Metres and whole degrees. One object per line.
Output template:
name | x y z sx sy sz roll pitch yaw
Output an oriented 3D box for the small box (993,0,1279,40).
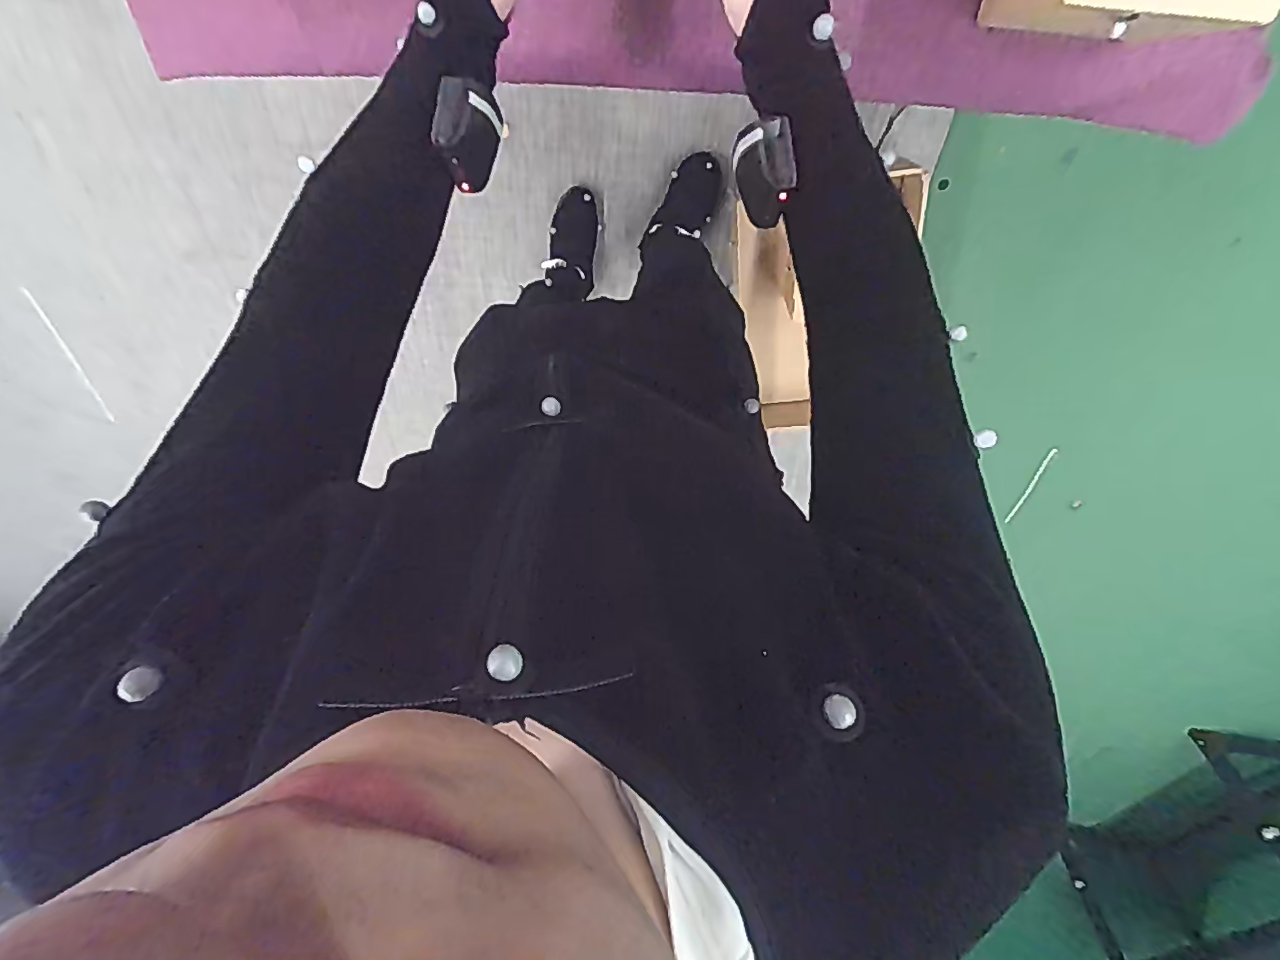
small box | 0.428 -0.483 0.436 0.168 0.176 0.179 7 125 2
